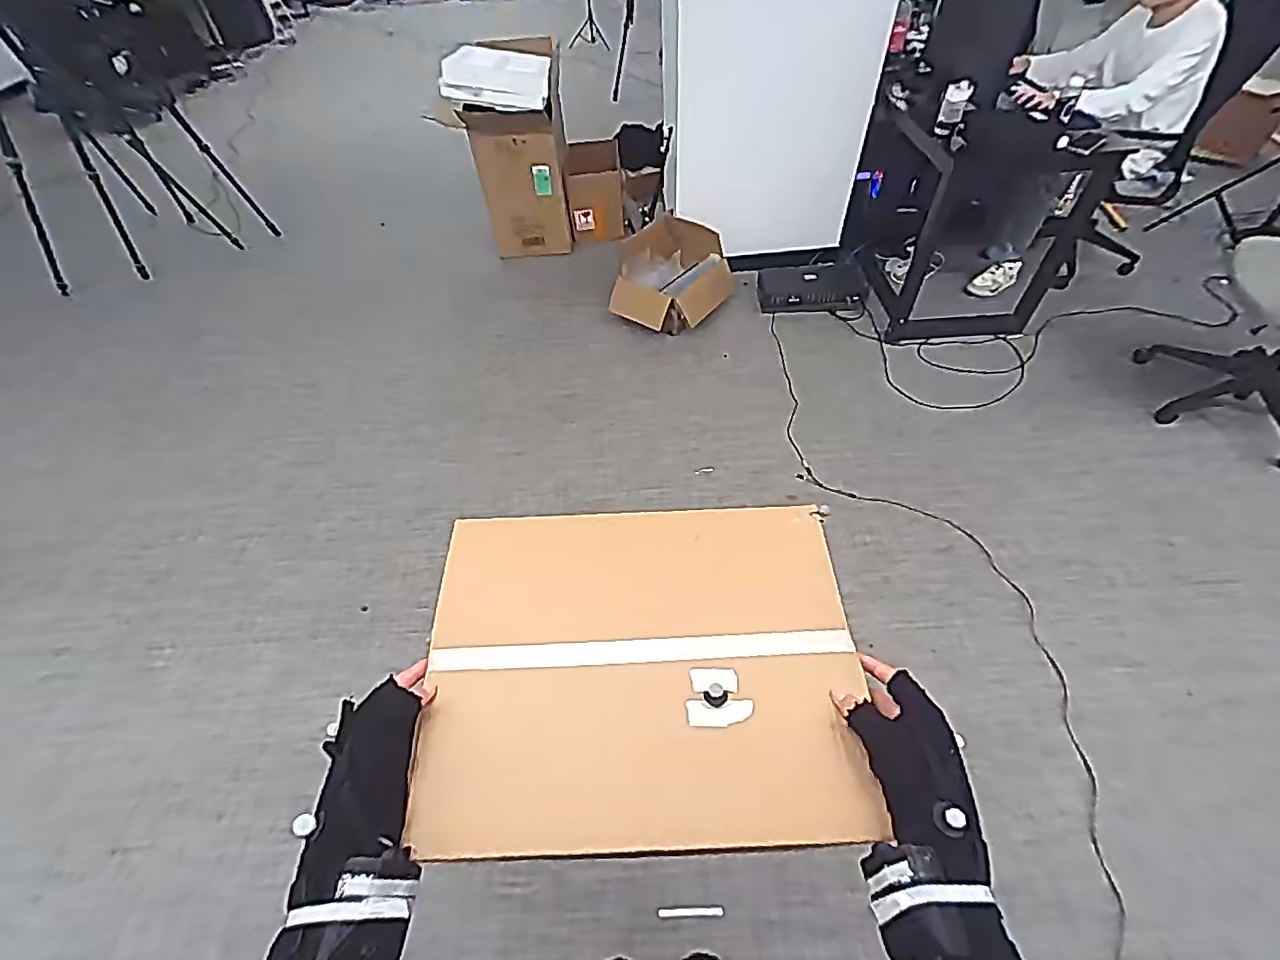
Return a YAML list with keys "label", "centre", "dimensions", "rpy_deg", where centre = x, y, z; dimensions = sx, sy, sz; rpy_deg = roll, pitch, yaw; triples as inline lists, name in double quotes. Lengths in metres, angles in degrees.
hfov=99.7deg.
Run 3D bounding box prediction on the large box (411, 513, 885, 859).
- label: "large box"
  centre: [0.003, 0.257, 0.651]
  dimensions: [0.408, 0.320, 0.320]
  rpy_deg: [-2, 55, 0]
